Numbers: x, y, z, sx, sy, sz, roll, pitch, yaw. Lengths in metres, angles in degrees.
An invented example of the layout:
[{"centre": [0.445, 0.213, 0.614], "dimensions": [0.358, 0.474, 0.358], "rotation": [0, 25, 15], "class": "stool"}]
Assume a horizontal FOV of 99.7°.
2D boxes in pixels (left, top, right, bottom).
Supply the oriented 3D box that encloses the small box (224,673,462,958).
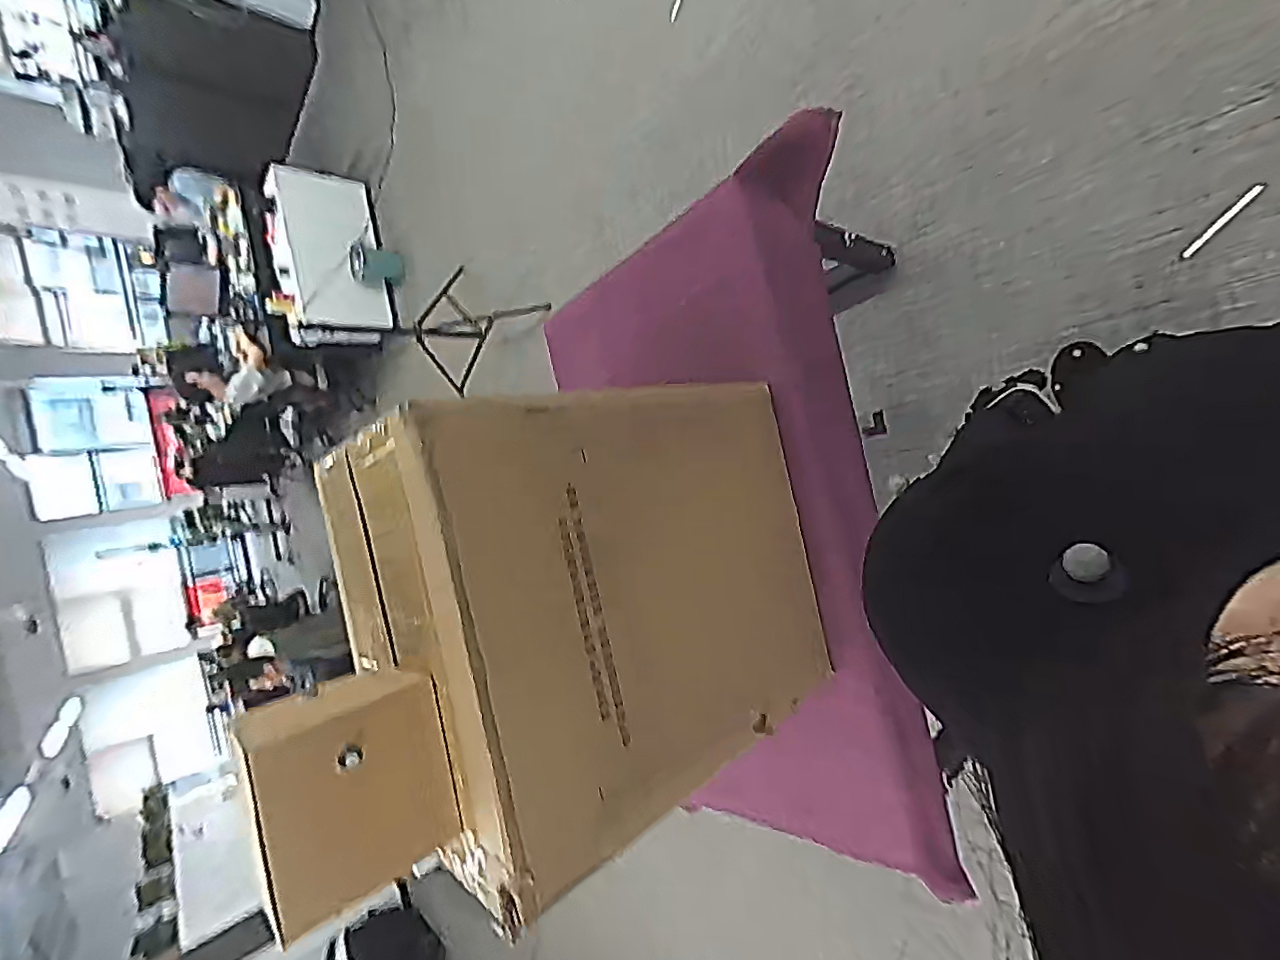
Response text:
[{"centre": [-0.310, 0.320, 0.568], "dimensions": [0.168, 0.176, 0.179], "rotation": [-15, 88, 48], "class": "small box"}]
